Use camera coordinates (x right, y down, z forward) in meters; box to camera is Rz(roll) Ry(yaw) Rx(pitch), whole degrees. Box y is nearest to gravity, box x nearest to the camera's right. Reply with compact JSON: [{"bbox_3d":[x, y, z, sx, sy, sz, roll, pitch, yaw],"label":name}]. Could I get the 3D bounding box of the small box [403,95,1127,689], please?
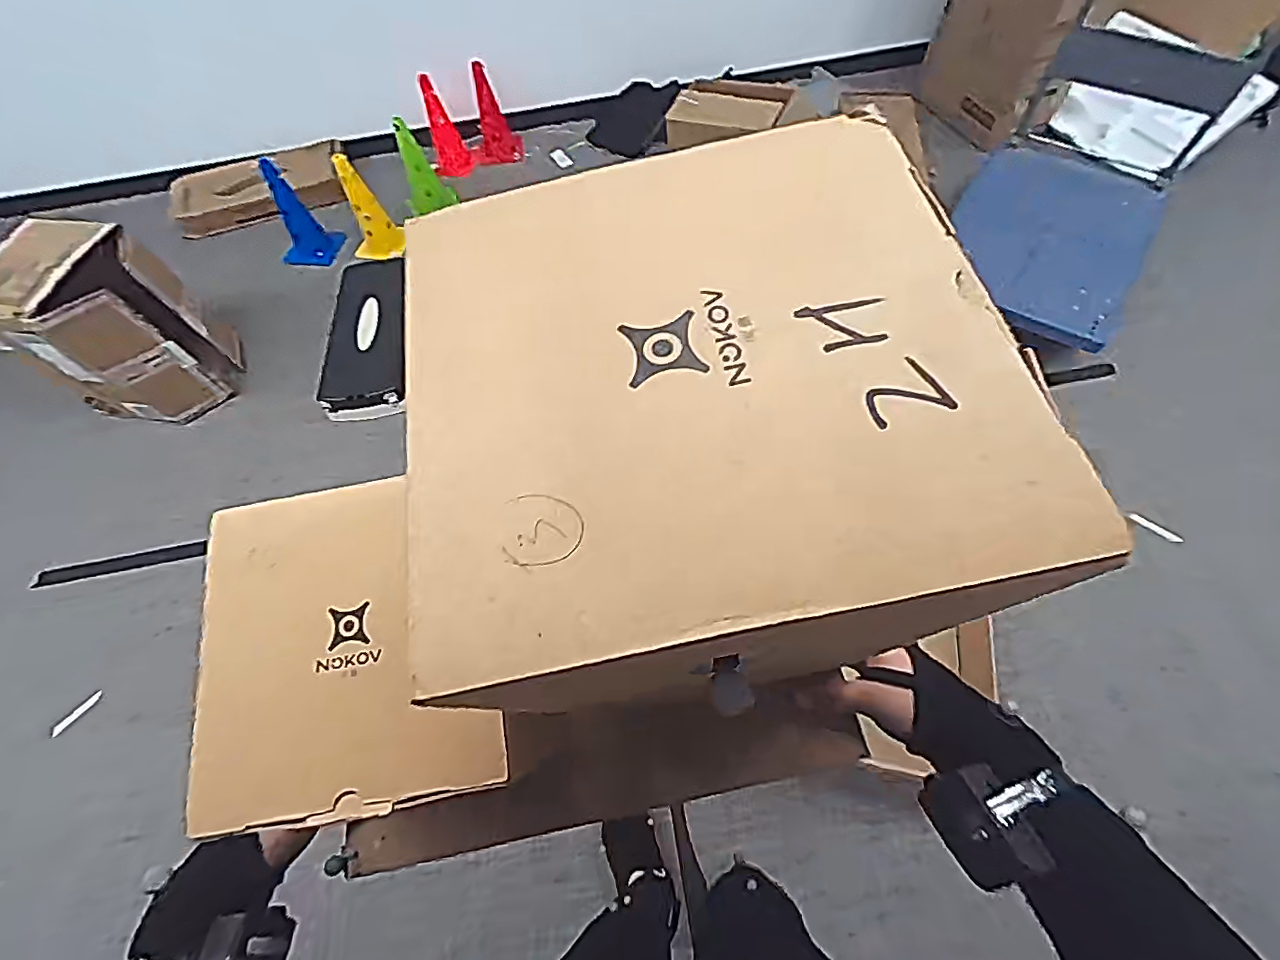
[{"bbox_3d":[0.024,-0.013,0.231,0.179,0.176,0.168,-12,66,1],"label":"small box"}]
